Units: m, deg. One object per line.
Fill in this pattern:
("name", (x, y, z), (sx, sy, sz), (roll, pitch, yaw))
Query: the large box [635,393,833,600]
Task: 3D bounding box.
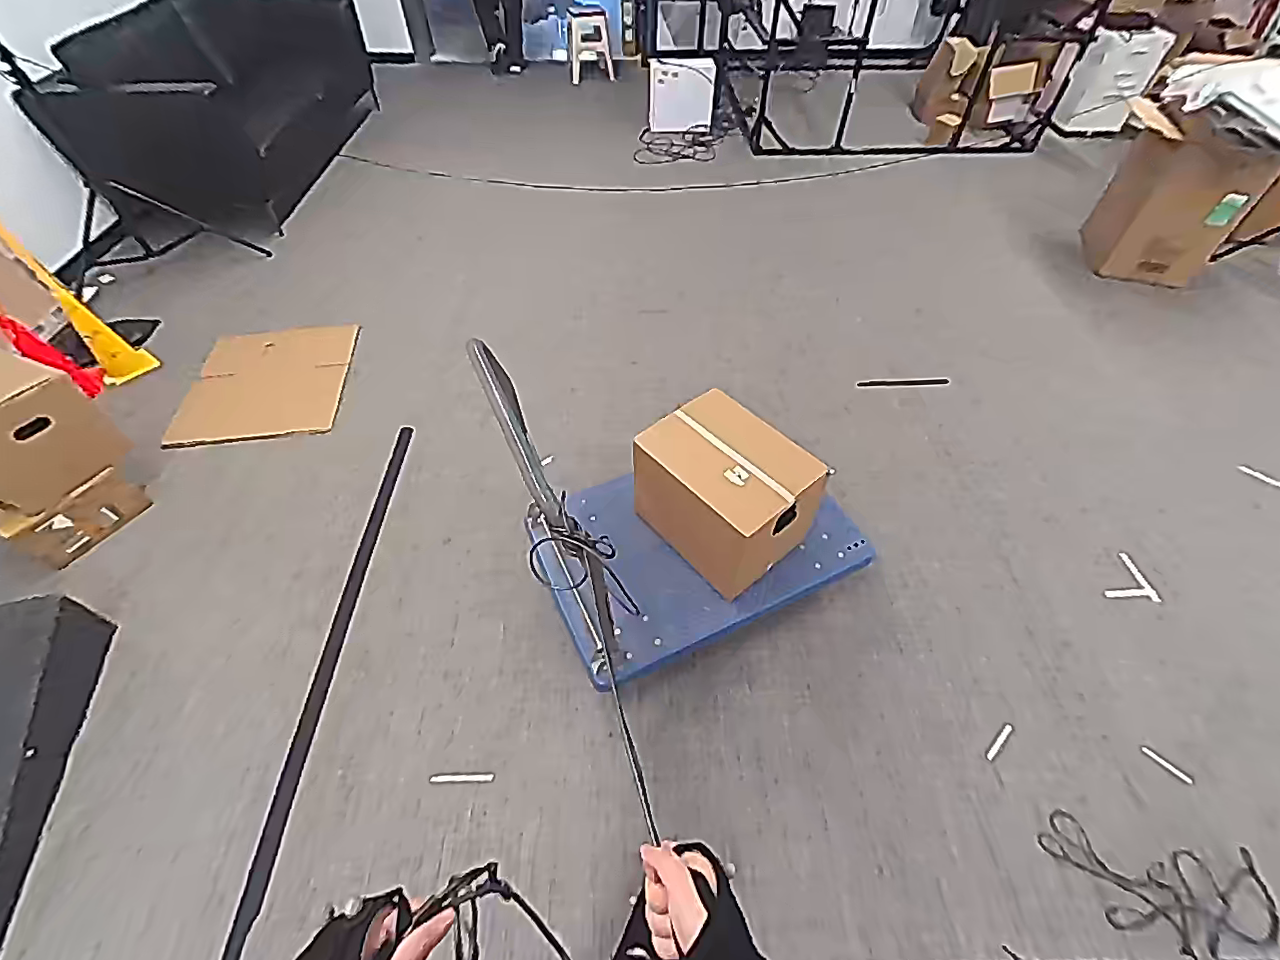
("large box", (0.228, 0.038, 1.467), (0.320, 0.320, 0.408), (-34, 59, -24))
